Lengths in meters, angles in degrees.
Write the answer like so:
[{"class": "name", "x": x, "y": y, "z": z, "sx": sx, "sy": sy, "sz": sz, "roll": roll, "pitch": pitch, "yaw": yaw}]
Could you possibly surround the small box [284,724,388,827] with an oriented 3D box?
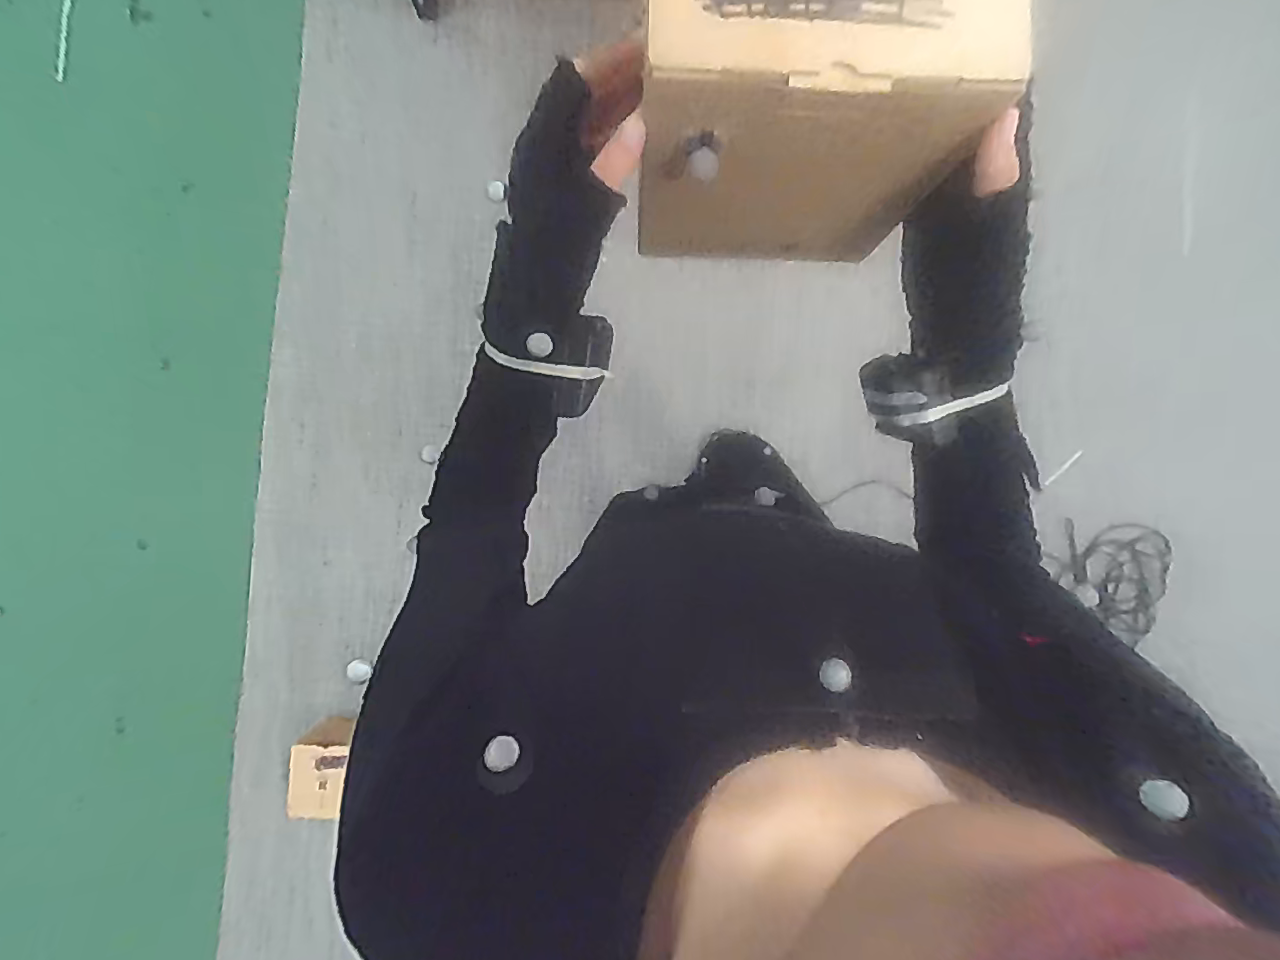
[{"class": "small box", "x": -0.753, "y": 0.732, "z": 1.357, "sx": 0.168, "sy": 0.176, "sz": 0.179, "roll": 3, "pitch": 88, "yaw": 0}]
